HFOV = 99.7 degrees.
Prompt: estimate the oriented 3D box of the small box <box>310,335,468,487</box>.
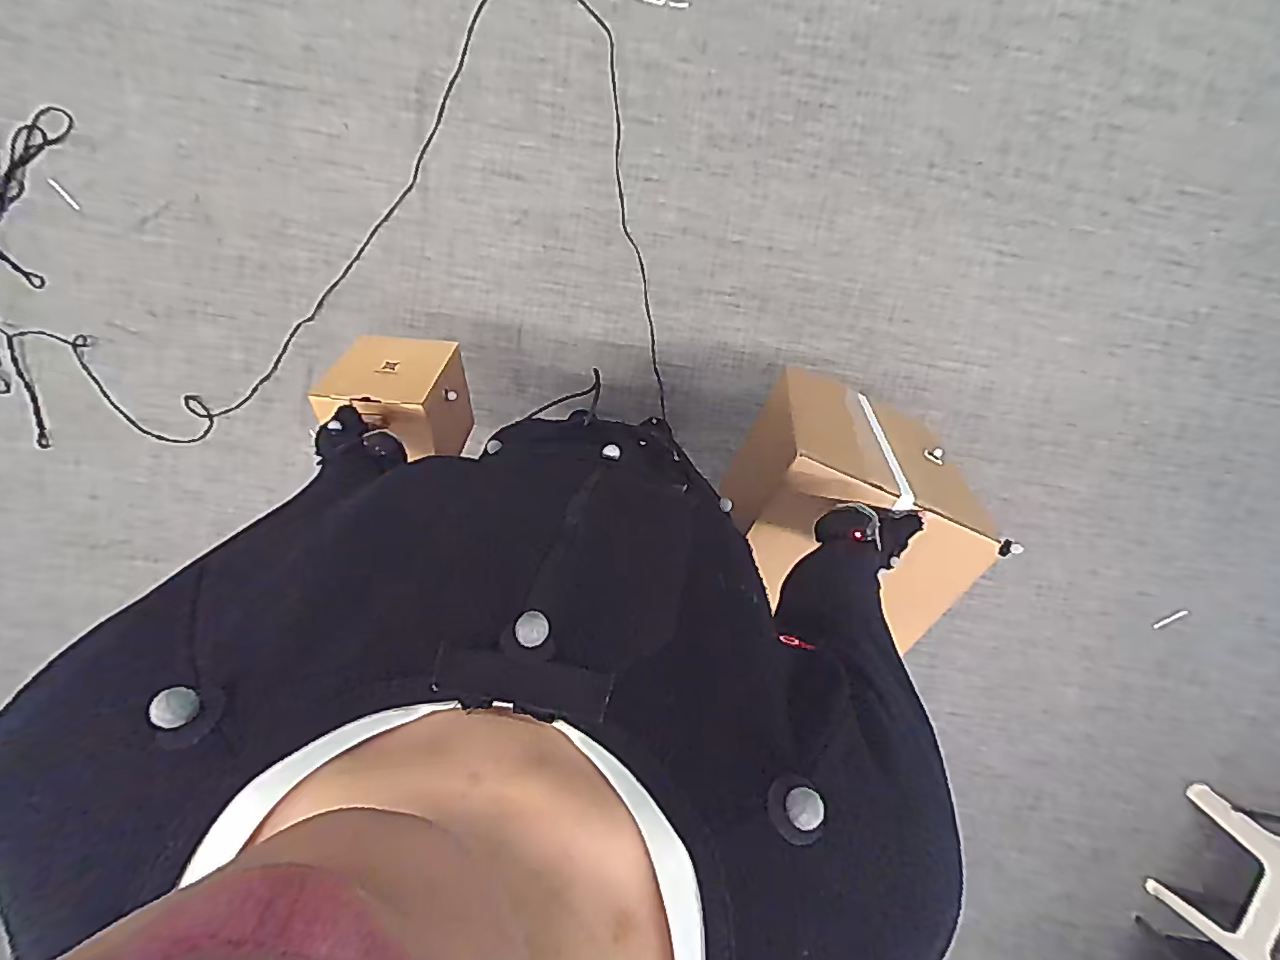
[{"bbox_3d":[-0.390,-0.113,0.883,0.168,0.179,0.176,4,135,0],"label":"small box"}]
